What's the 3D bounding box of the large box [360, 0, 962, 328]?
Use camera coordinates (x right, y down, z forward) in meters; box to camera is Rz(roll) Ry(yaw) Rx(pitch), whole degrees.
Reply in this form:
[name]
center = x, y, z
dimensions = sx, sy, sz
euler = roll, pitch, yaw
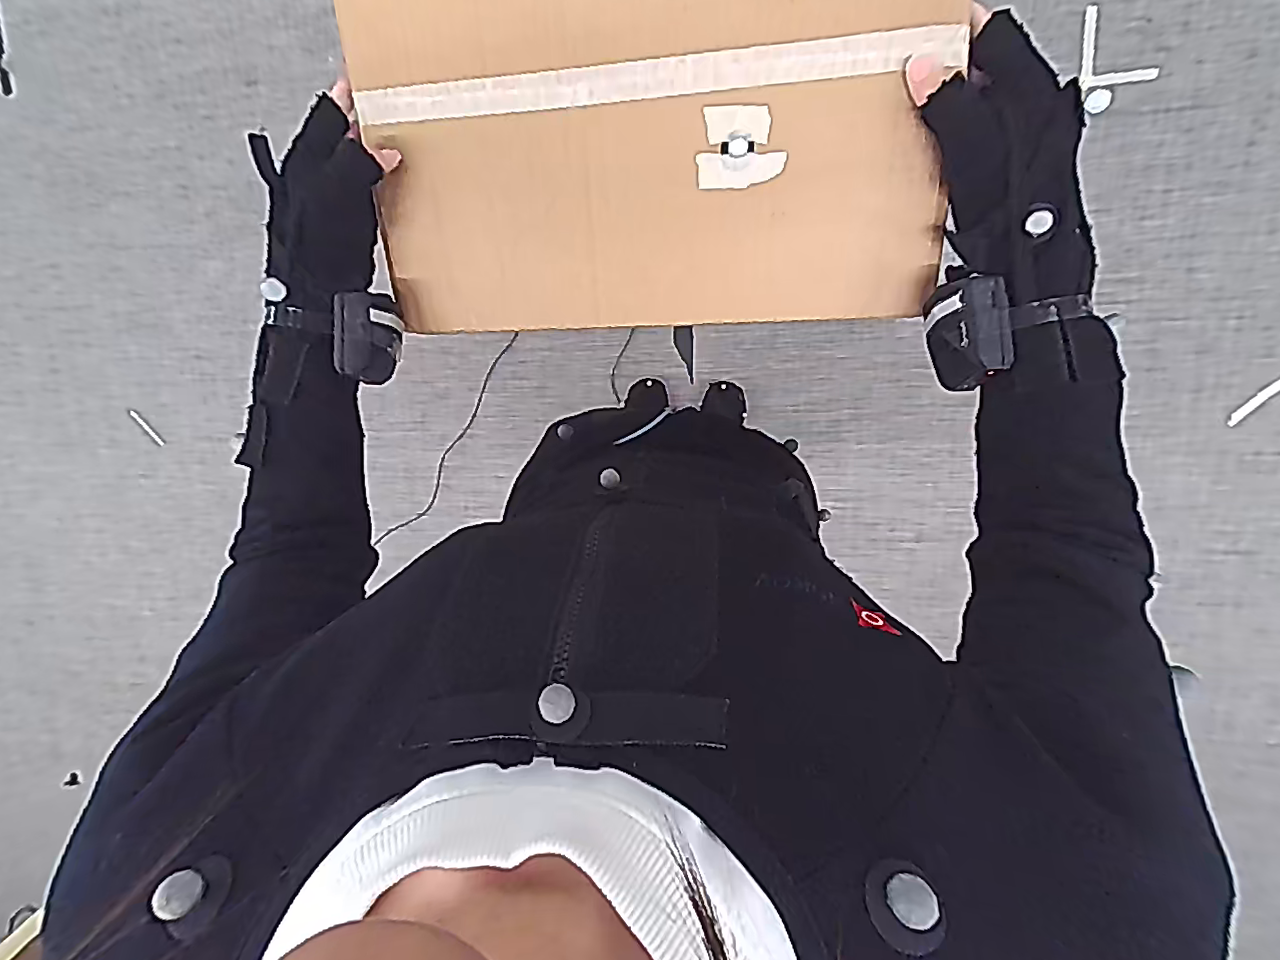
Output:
[large box]
center = 0.022, -0.325, 0.508
dimensions = 0.408, 0.320, 0.320
euler = 0, 111, 8
